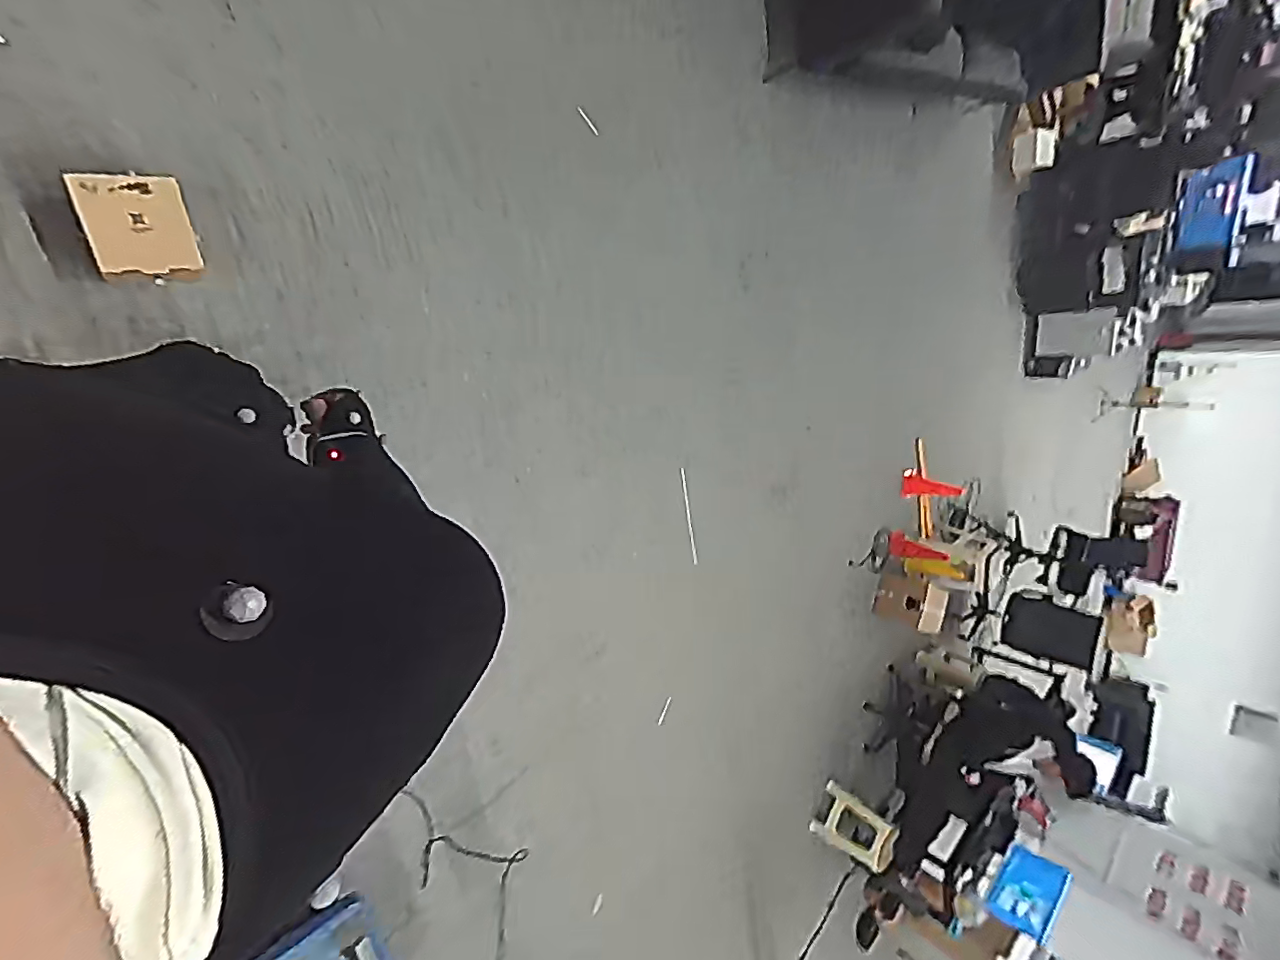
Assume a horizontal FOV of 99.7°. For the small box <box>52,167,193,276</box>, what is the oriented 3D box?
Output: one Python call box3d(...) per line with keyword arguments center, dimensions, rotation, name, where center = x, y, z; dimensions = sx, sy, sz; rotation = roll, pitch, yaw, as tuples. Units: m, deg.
box3d(center=(-1.042, -0.516, 1.105), dimensions=(0.168, 0.176, 0.179), rotation=(-19, 111, -37), name="small box")
